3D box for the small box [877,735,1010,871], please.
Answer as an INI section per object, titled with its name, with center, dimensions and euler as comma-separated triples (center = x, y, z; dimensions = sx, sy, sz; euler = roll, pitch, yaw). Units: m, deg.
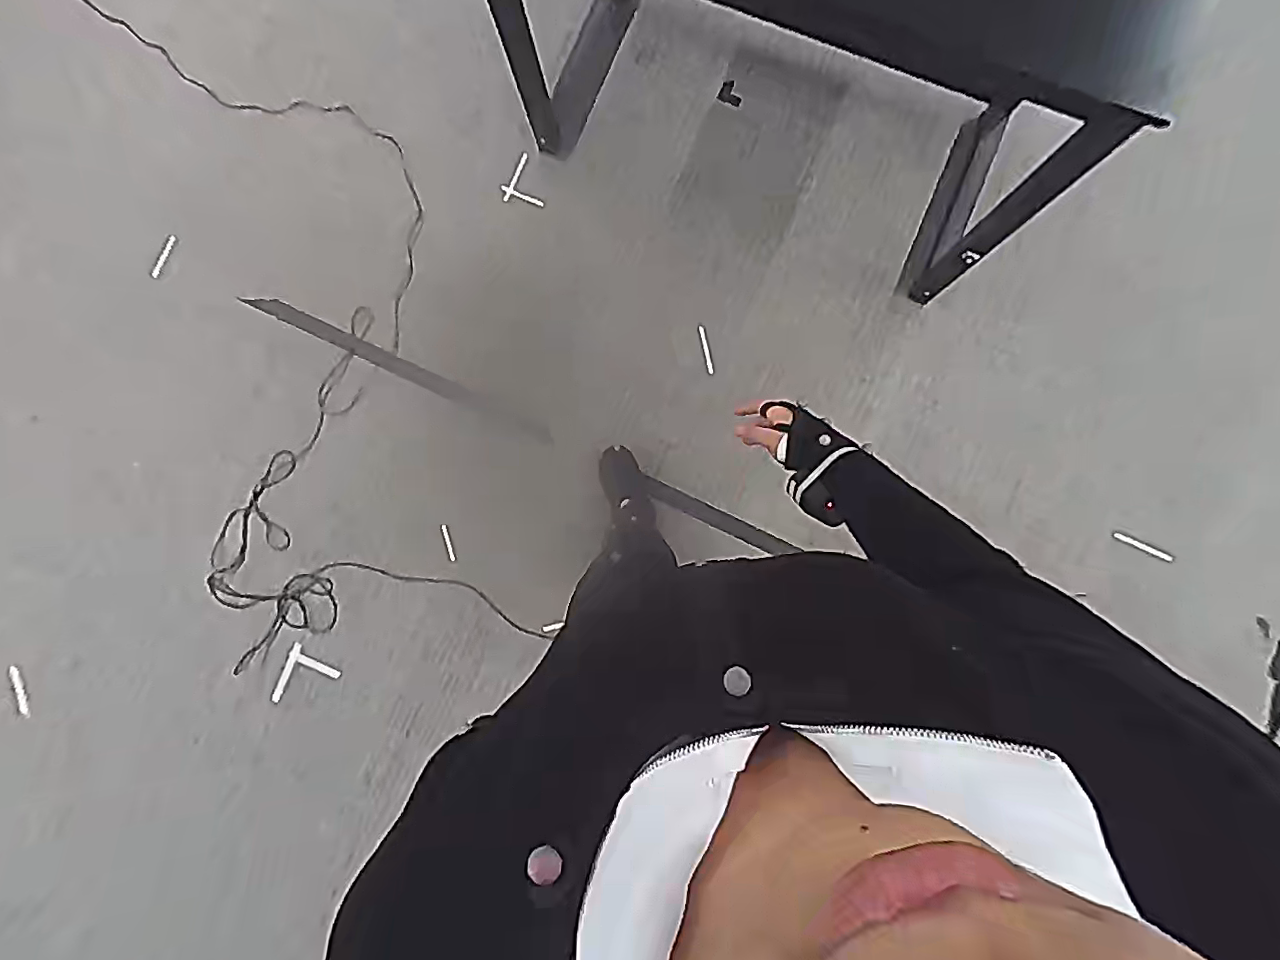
[small box]
center = 0.642, 0.684, 1.169
dimensions = 0.179, 0.176, 0.168
euler = 18, 91, 4
